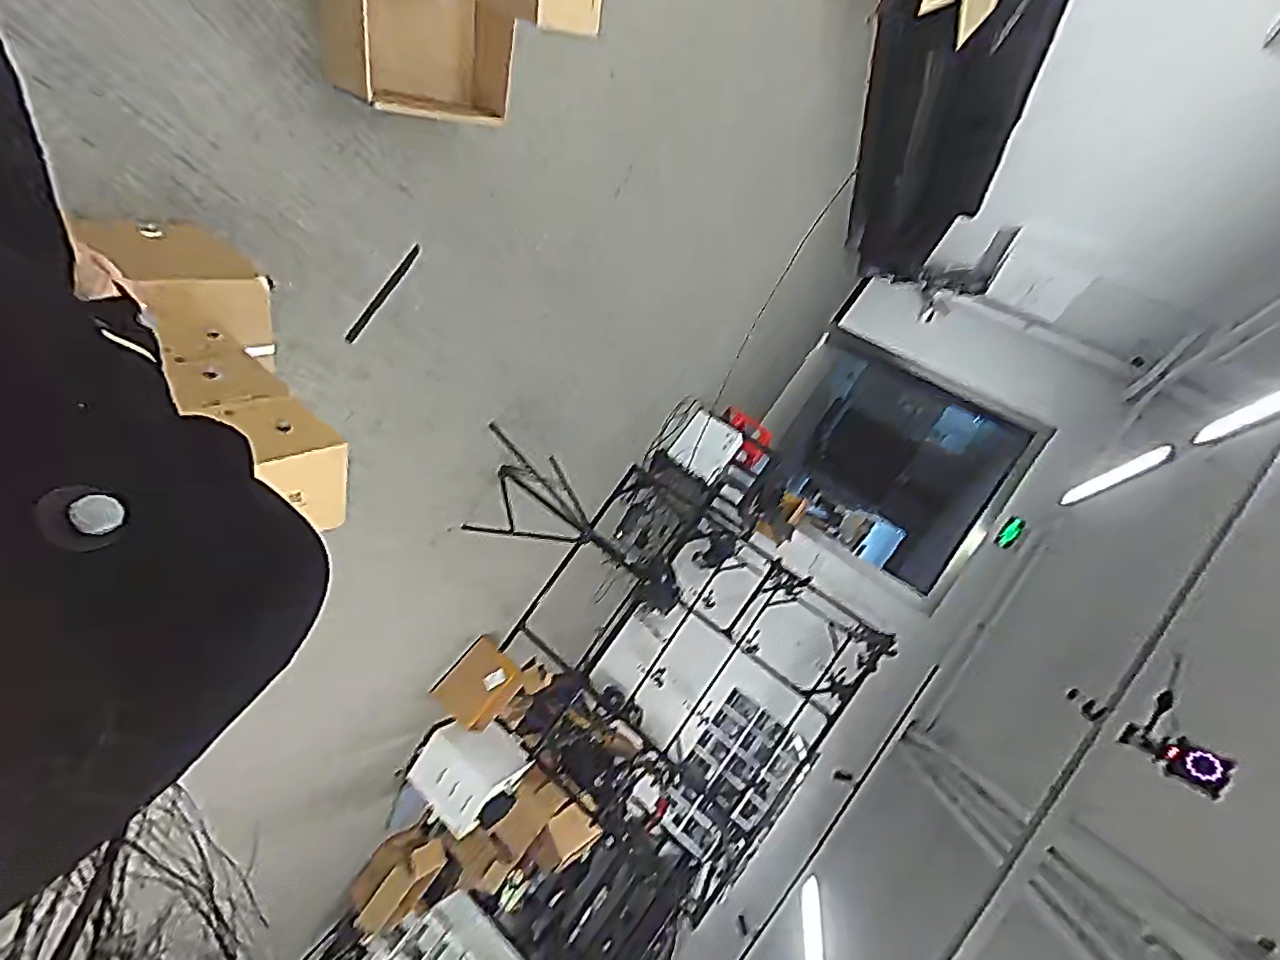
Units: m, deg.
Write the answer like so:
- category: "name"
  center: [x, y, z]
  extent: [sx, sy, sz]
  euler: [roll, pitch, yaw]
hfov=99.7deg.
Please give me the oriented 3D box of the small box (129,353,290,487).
- category: "small box"
  center: [-0.725, -0.104, 0.924]
  extent: [0.168, 0.176, 0.179]
  euler: [-28, 146, -50]

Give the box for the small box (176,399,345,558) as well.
- category: "small box"
  center: [-0.602, -0.015, 0.865]
  extent: [0.168, 0.176, 0.179]
  euler: [-28, 148, -51]

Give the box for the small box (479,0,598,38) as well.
- category: "small box"
  center: [-0.193, -0.985, 1.038]
  extent: [0.179, 0.176, 0.168]
  euler: [-35, 154, -42]
